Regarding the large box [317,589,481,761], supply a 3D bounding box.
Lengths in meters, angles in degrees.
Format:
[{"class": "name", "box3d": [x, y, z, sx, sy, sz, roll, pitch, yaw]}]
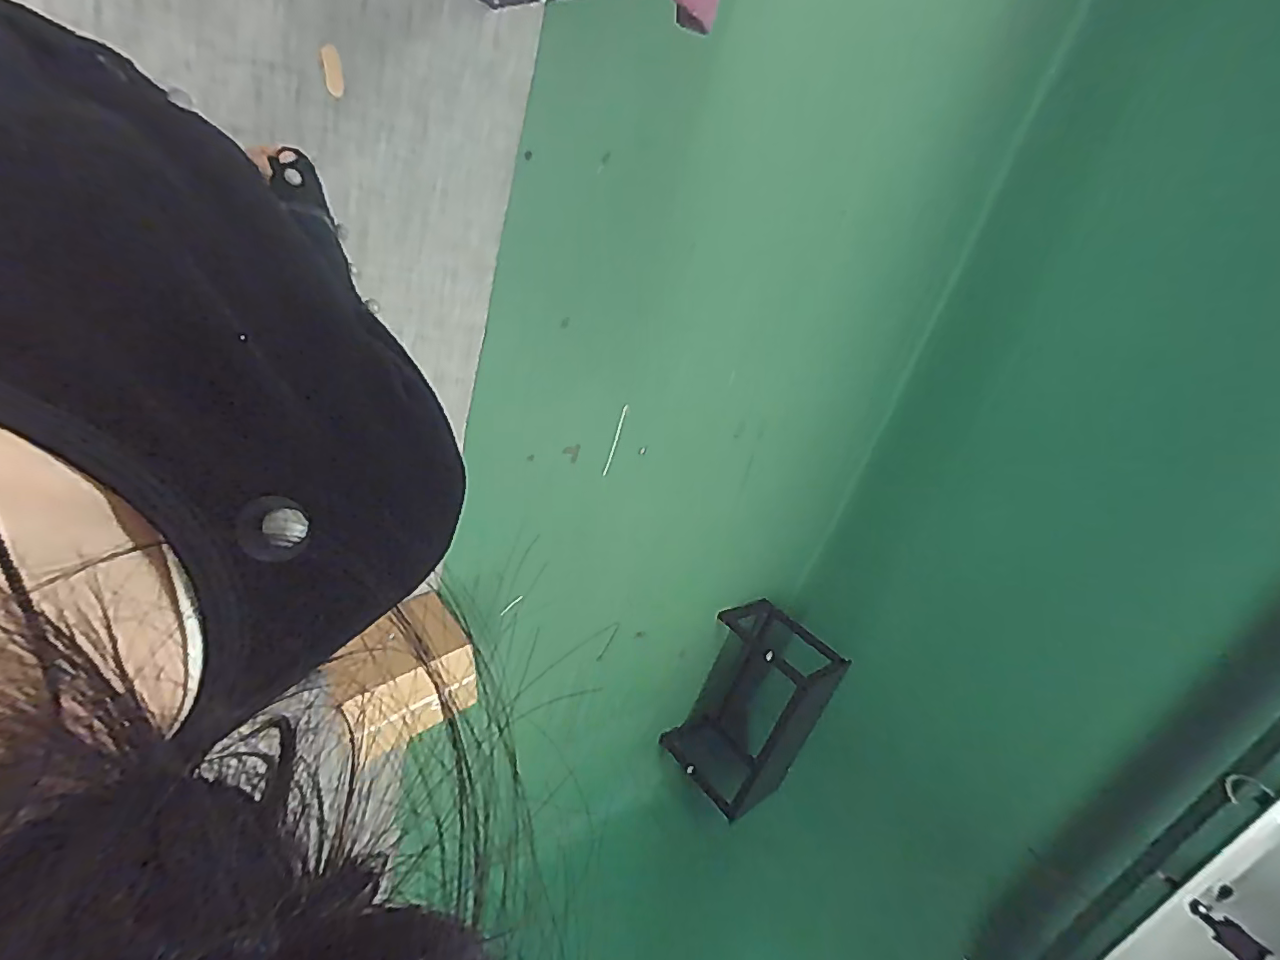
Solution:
[{"class": "large box", "box3d": [-0.804, 0.639, 1.832, 0.408, 0.320, 0.320, -20, 131, -36]}]
